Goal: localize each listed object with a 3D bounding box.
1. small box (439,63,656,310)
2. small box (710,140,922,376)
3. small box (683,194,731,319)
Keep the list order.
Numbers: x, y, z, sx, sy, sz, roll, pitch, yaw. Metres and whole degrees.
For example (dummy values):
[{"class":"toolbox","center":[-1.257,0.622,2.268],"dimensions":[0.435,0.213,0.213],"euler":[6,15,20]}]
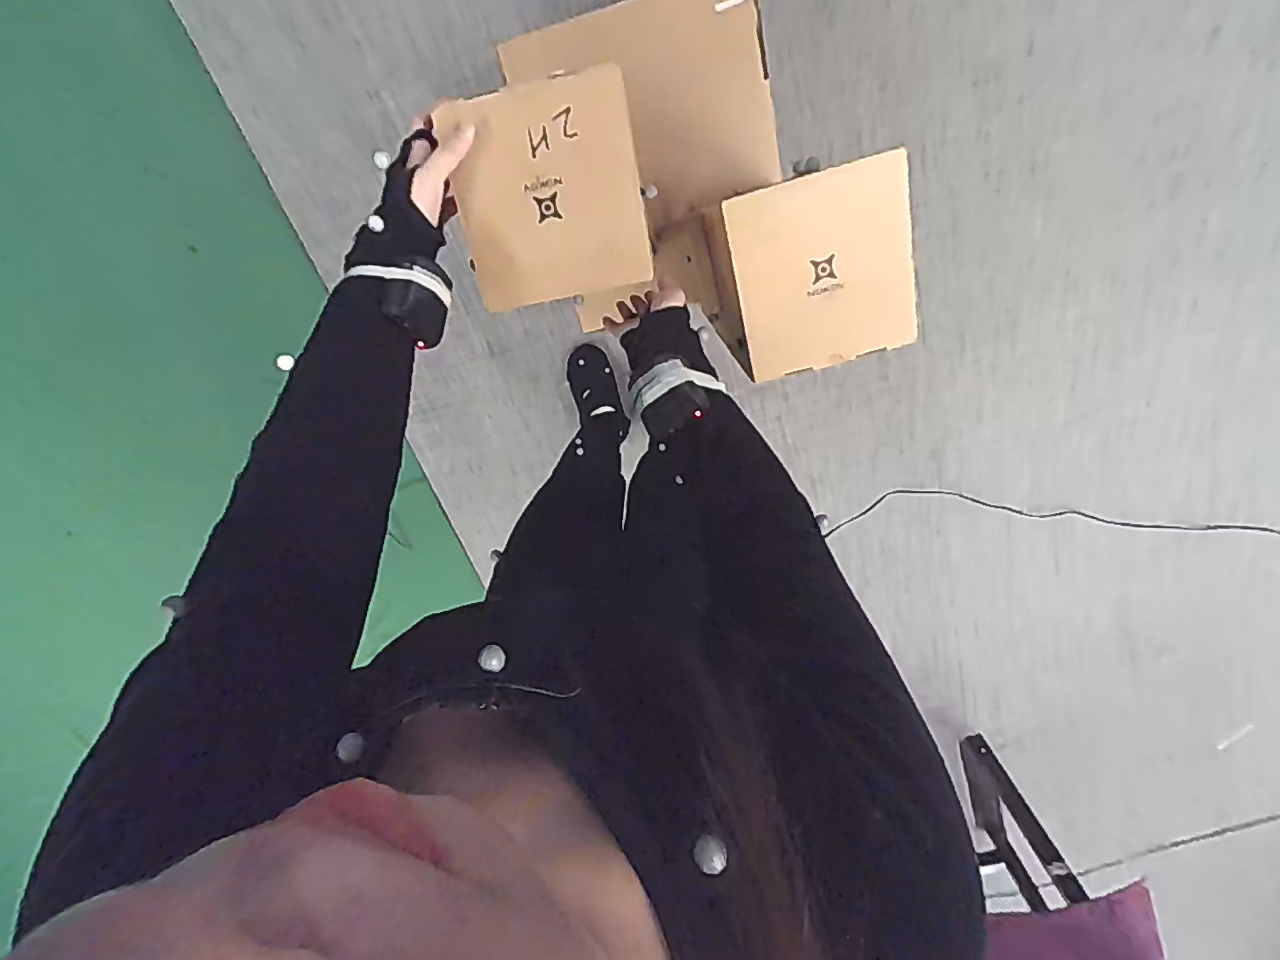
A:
[{"class":"small box","center":[-0.075,-0.287,0.557],"dimensions":[0.168,0.176,0.179],"euler":[-9,113,5]},{"class":"small box","center":[0.178,-0.232,0.581],"dimensions":[0.168,0.176,0.179],"euler":[-14,114,7]},{"class":"small box","center":[0.175,-0.377,0.875],"dimensions":[0.179,0.176,0.168],"euler":[-15,113,9]}]
